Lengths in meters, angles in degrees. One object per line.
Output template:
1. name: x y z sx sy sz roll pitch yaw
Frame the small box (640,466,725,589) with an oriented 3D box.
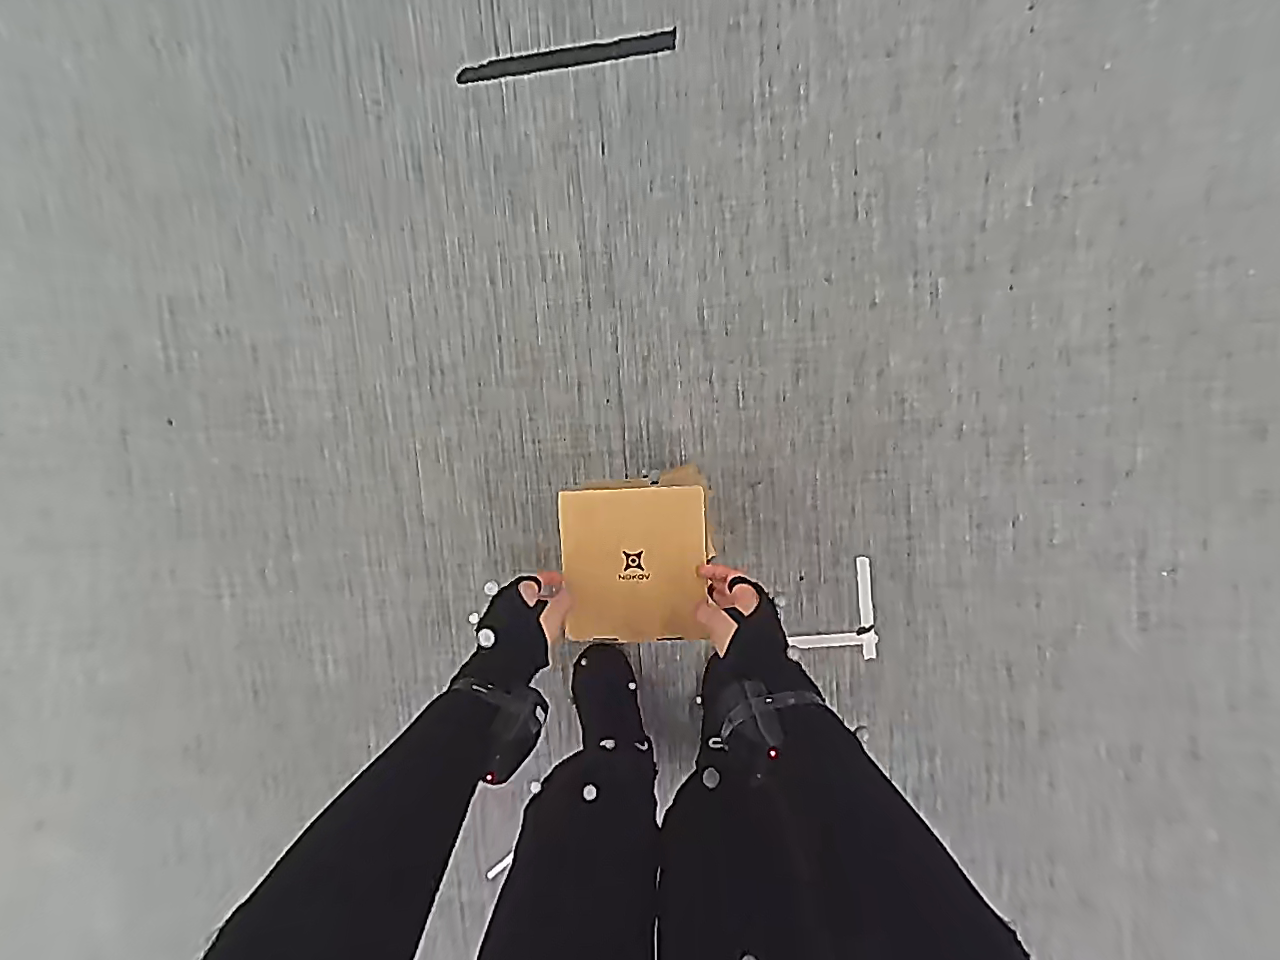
1. small box: 0.029 0.080 0.843 0.168 0.176 0.179 -15 93 7

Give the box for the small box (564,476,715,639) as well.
1. small box: 0.005 0.086 0.681 0.168 0.176 0.179 -3 95 6
